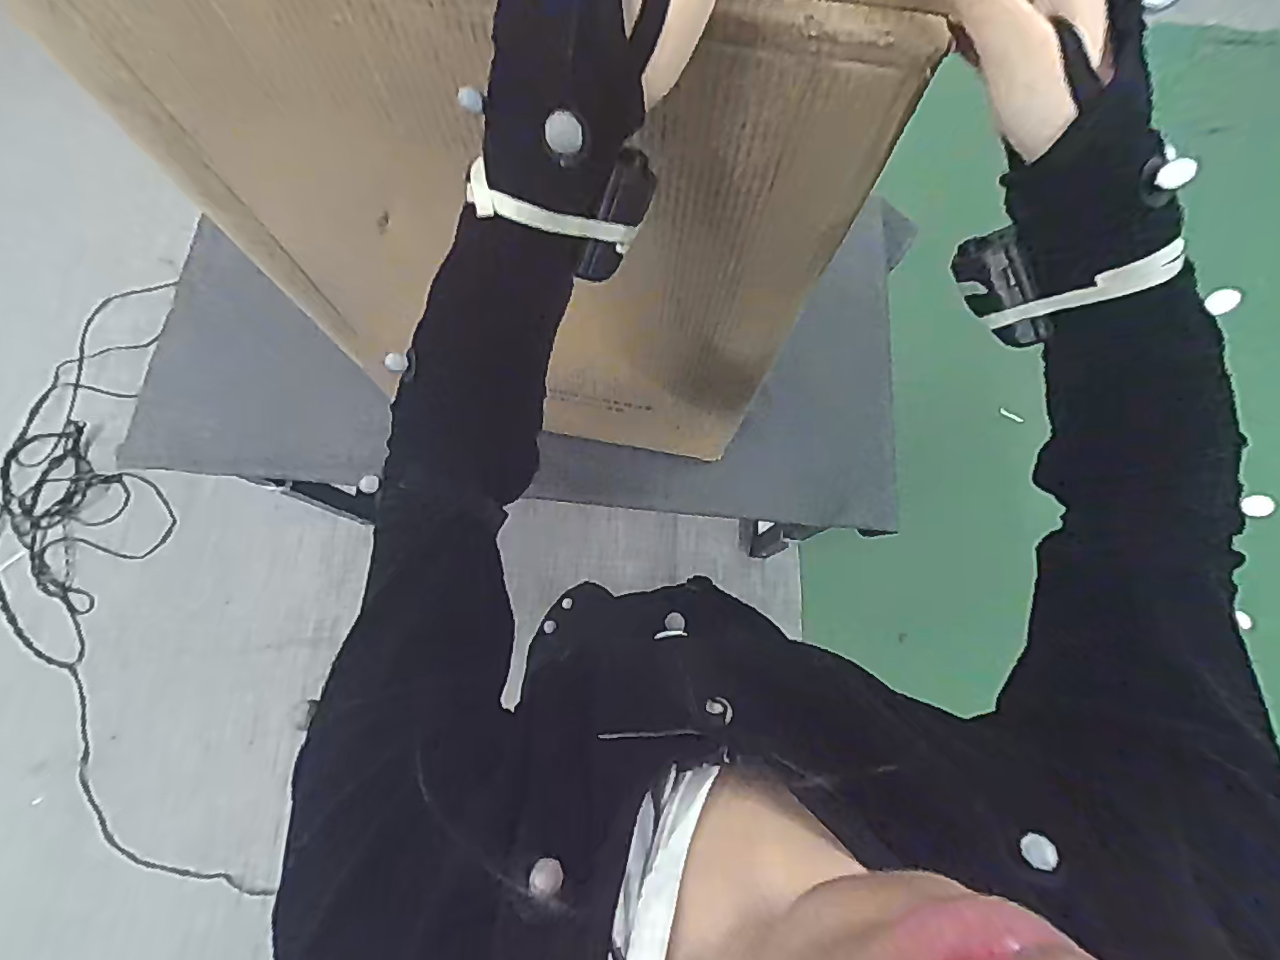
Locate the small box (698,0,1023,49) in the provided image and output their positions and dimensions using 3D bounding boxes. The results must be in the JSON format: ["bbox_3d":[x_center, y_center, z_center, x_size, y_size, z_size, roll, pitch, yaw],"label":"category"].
[{"bbox_3d":[0.105,-0.316,0.198,0.168,0.176,0.179,6,77,-2],"label":"small box"}]
